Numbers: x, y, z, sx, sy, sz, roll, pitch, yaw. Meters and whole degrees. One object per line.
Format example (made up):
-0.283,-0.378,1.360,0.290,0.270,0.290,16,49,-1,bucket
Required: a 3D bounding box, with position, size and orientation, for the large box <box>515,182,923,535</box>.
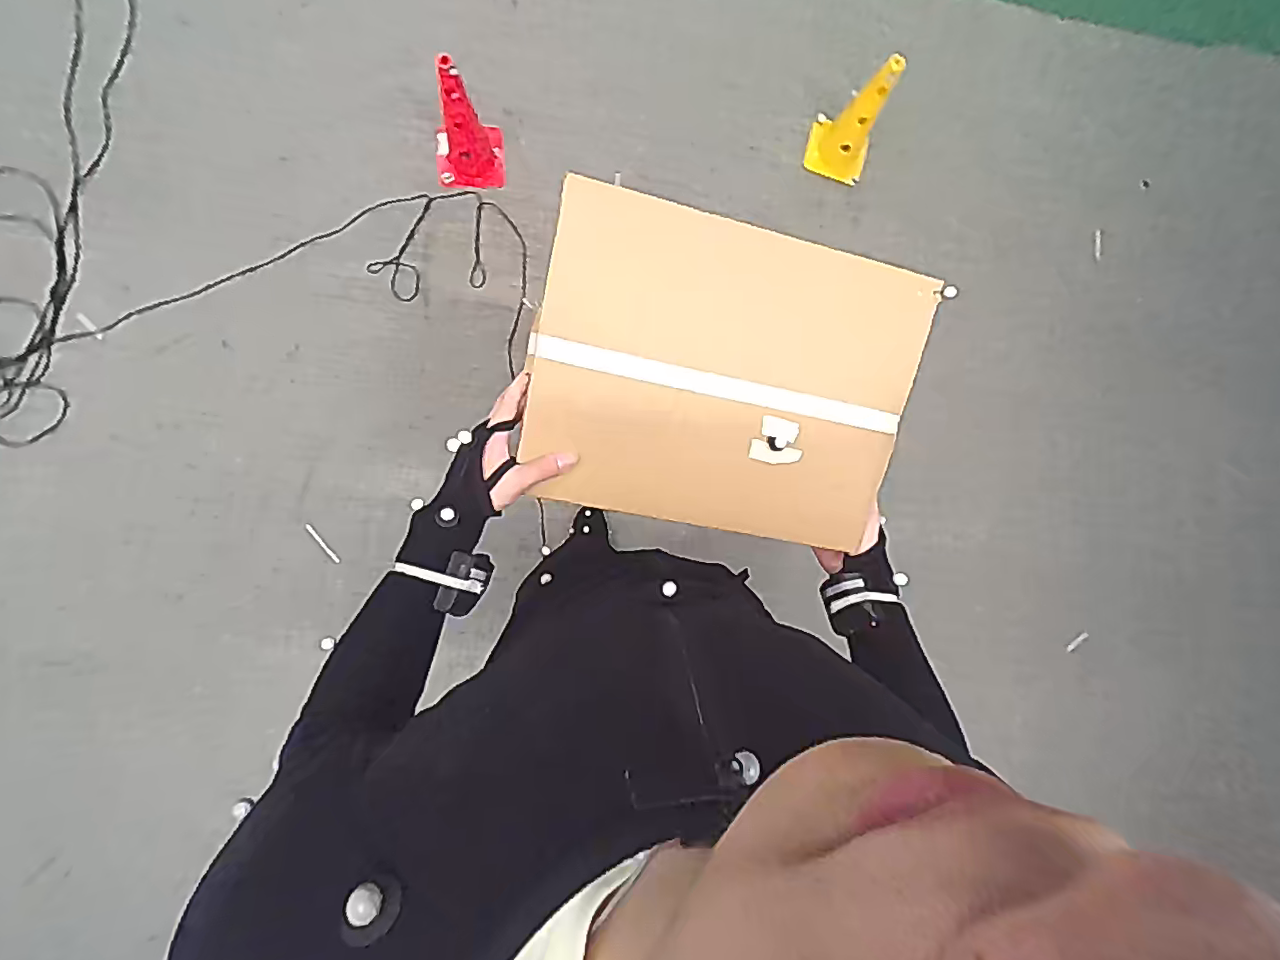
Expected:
0.063,-0.143,0.718,0.408,0.320,0.320,10,103,-11,large box
